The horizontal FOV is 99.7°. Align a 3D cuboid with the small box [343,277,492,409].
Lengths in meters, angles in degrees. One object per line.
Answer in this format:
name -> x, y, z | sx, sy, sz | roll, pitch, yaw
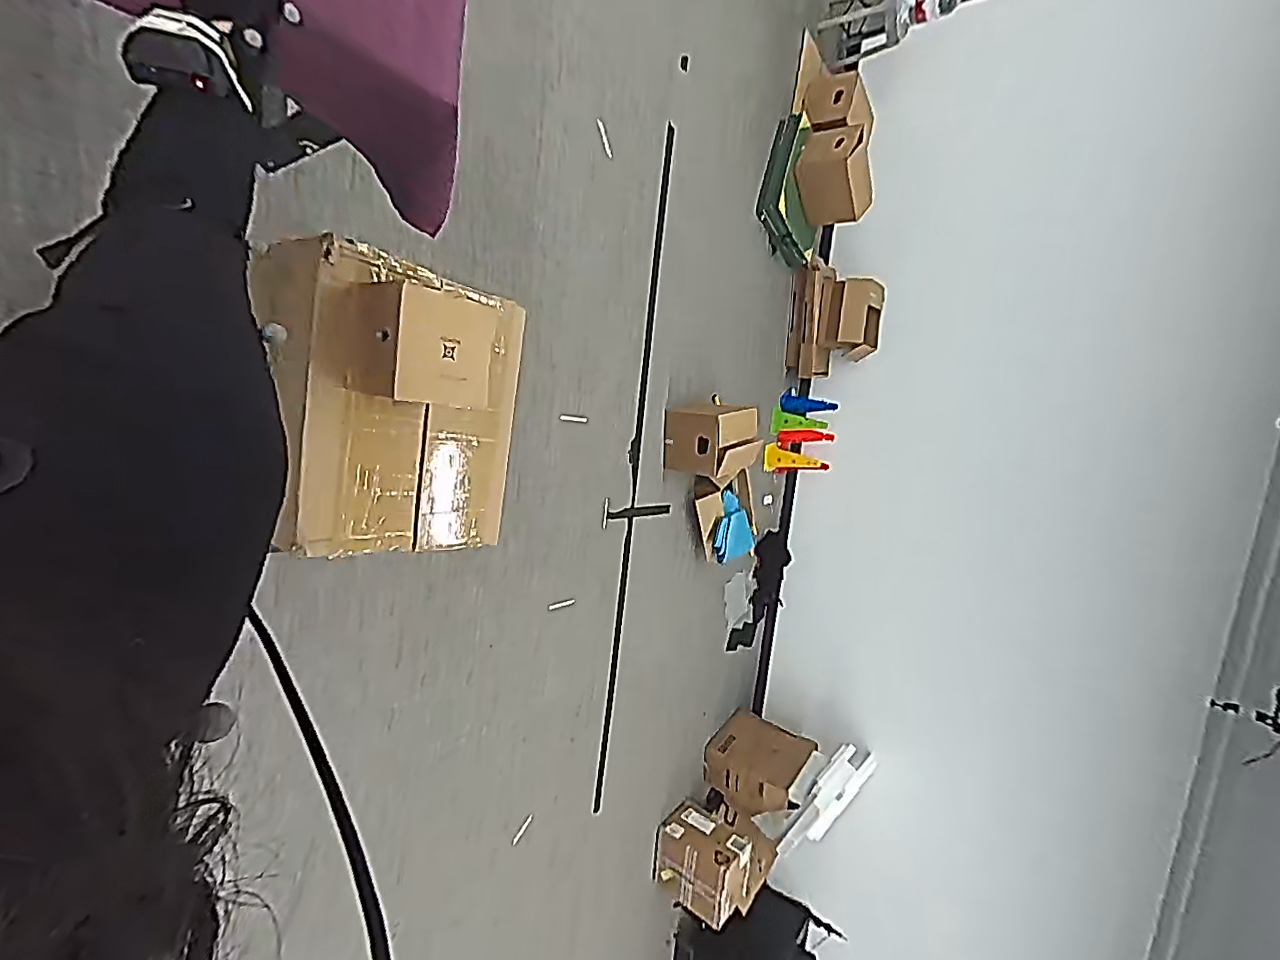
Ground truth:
small box -> -0.368, -0.219, 0.889 | 0.168, 0.176, 0.179 | -1, 101, -51
